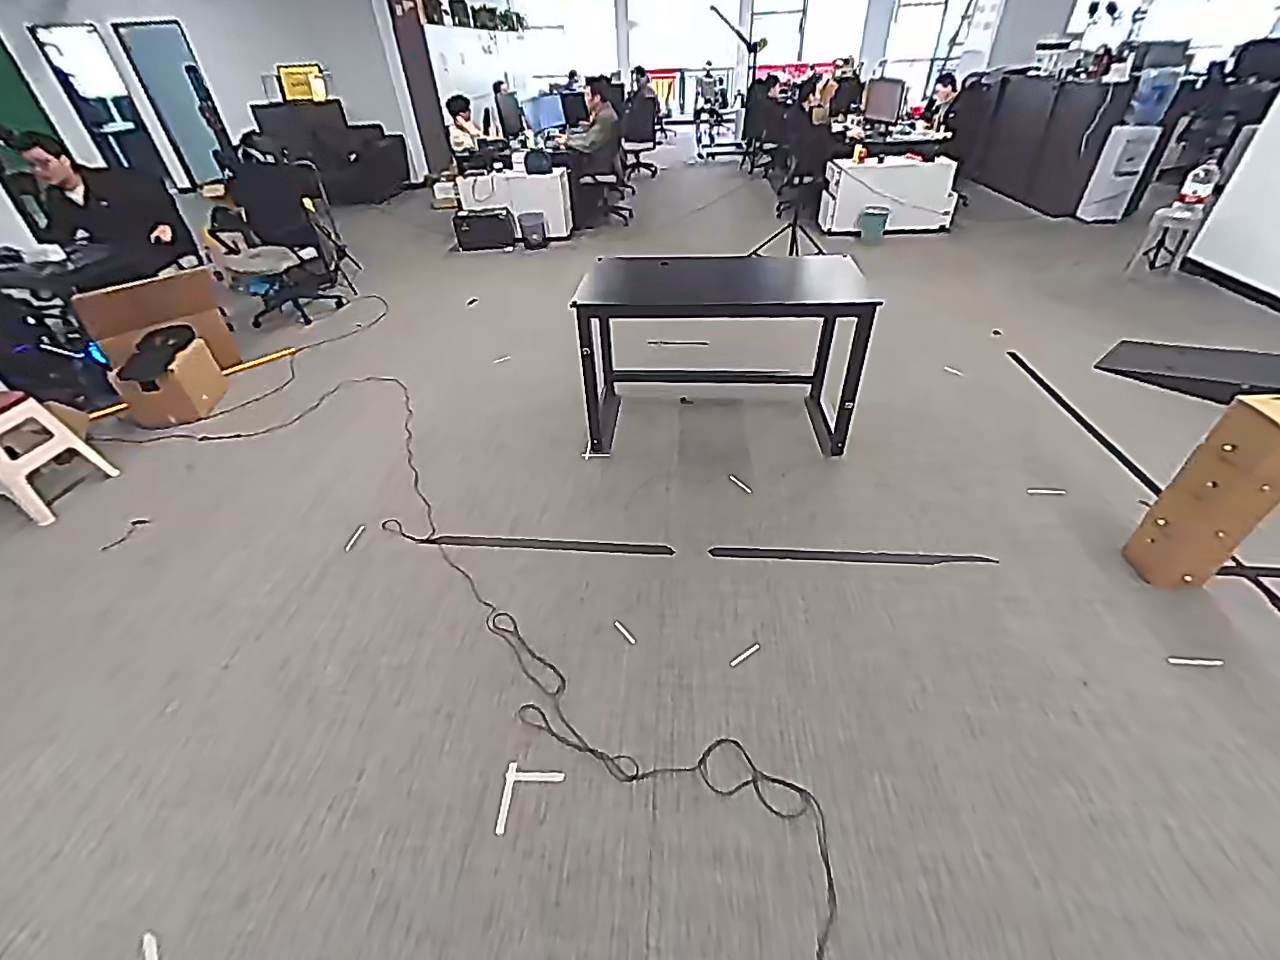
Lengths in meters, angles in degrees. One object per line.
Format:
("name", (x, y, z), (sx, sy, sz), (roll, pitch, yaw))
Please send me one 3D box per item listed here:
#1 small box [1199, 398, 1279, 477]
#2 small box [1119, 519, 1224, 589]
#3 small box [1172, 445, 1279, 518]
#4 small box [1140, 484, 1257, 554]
("small box", (1.820, -0.120, 1.577), (0.168, 0.176, 0.179), (0, 40, 5))
("small box", (1.842, 0.257, 1.889), (0.168, 0.176, 0.179), (1, 39, 6))
("small box", (1.824, 0.006, 1.682), (0.179, 0.176, 0.168), (1, 40, 4))
("small box", (1.829, 0.131, 1.785), (0.179, 0.176, 0.168), (0, 39, 6))
